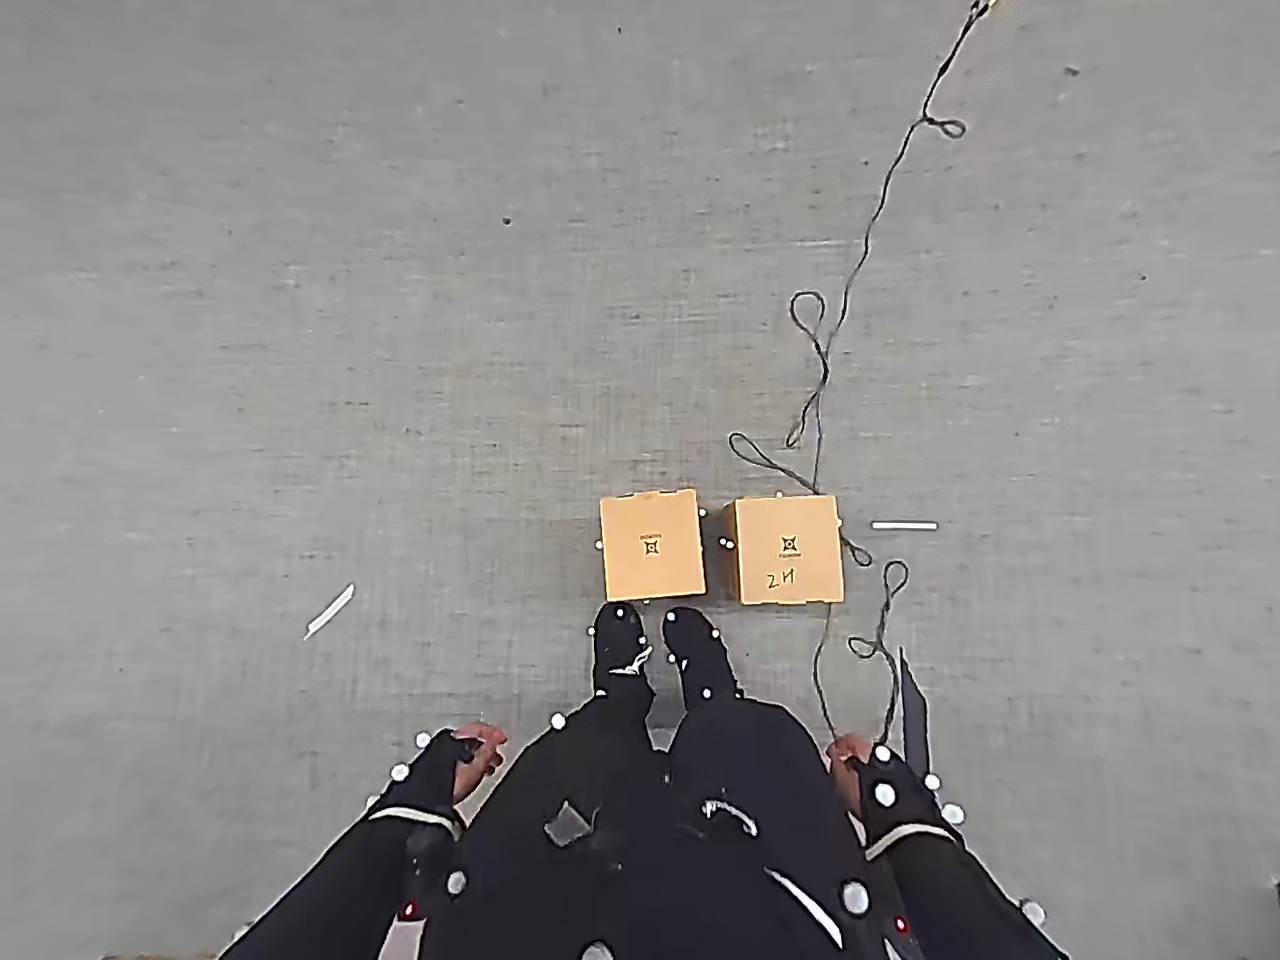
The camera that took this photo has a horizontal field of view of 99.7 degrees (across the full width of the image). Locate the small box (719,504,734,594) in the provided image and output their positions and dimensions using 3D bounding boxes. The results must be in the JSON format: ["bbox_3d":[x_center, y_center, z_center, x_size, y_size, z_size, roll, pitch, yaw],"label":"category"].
[{"bbox_3d":[0.254,0.143,1.128,0.168,0.176,0.179,-1,84,4],"label":"small box"}]

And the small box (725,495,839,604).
[{"bbox_3d":[0.244,0.124,0.965,0.168,0.176,0.179,-2,83,4],"label":"small box"}]

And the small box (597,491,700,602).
[{"bbox_3d":[0.020,0.120,0.984,0.168,0.176,0.179,-6,82,3],"label":"small box"}]
